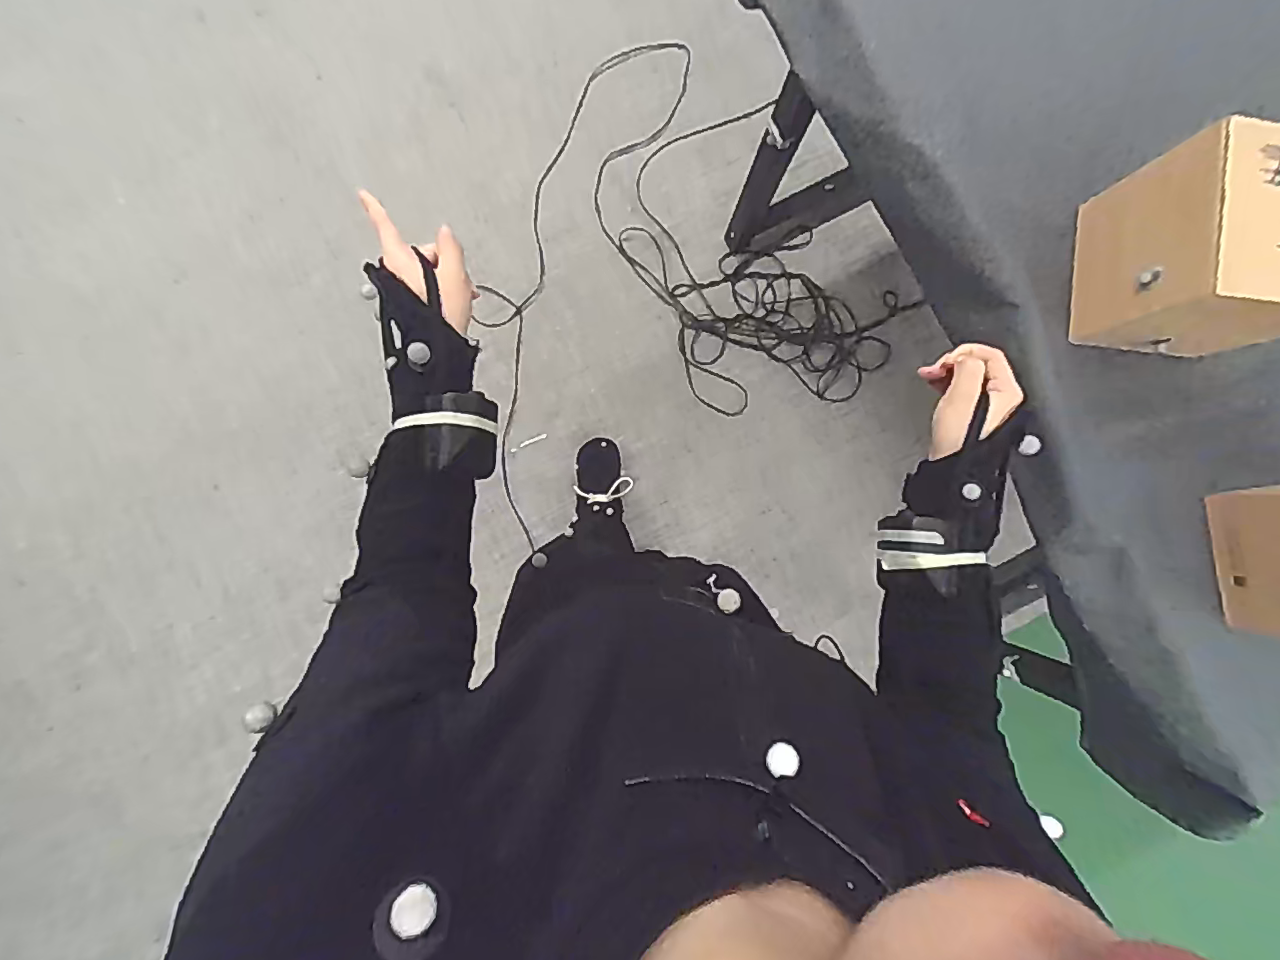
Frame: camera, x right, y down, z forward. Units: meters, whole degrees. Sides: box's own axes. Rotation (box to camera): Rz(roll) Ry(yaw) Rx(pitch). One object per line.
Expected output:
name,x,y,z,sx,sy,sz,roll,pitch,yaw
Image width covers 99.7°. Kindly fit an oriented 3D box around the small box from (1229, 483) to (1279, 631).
small box,0.799,0.083,0.580,0.179,0.176,0.168,-8,89,-3
